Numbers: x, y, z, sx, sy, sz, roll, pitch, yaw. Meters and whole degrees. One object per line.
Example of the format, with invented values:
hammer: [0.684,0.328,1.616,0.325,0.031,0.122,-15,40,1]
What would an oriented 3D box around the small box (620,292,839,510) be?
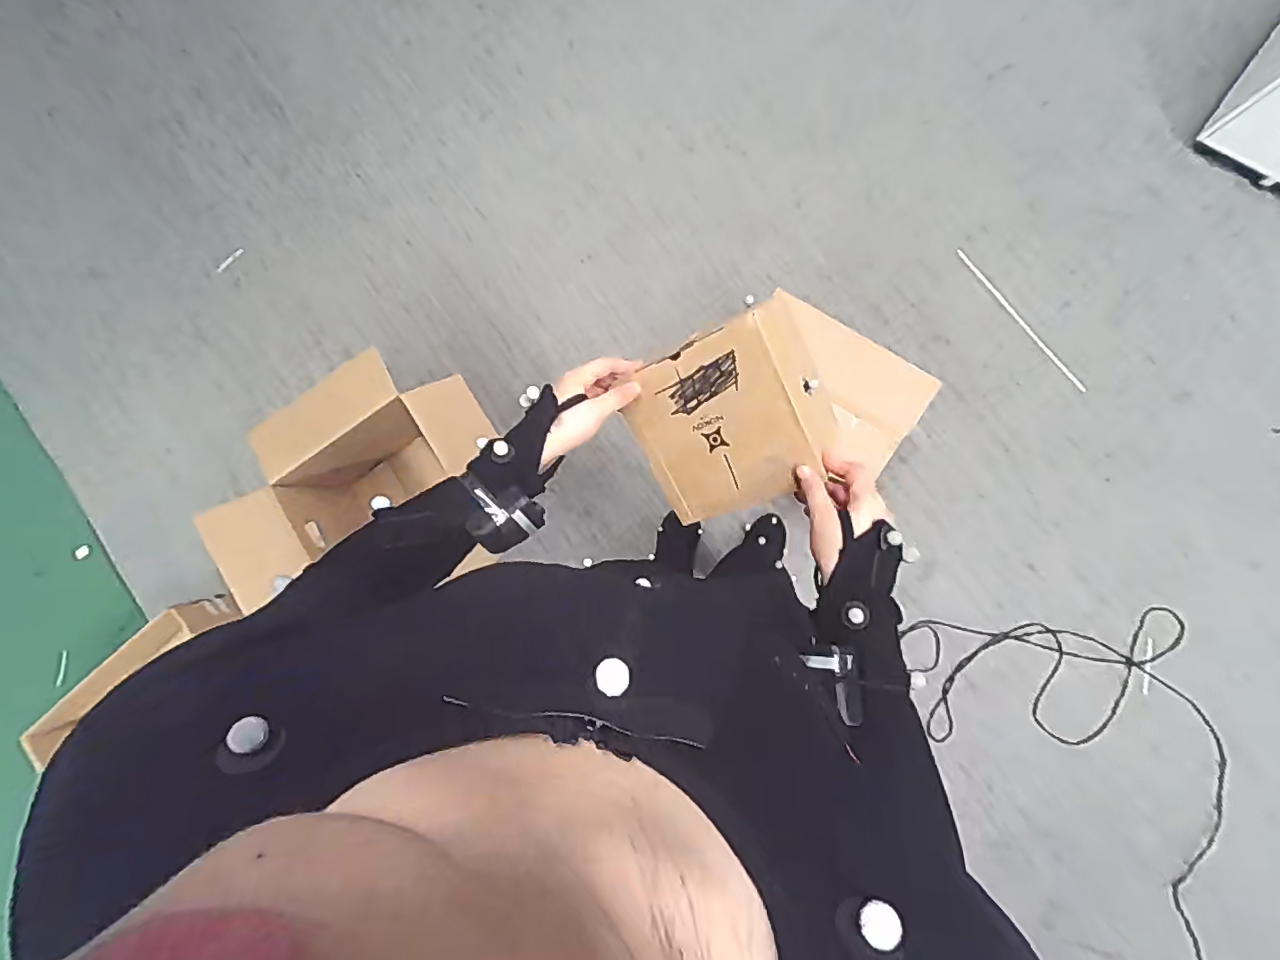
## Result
small box: [0.110,-0.095,0.607,0.168,0.176,0.179,-20,104,31]
